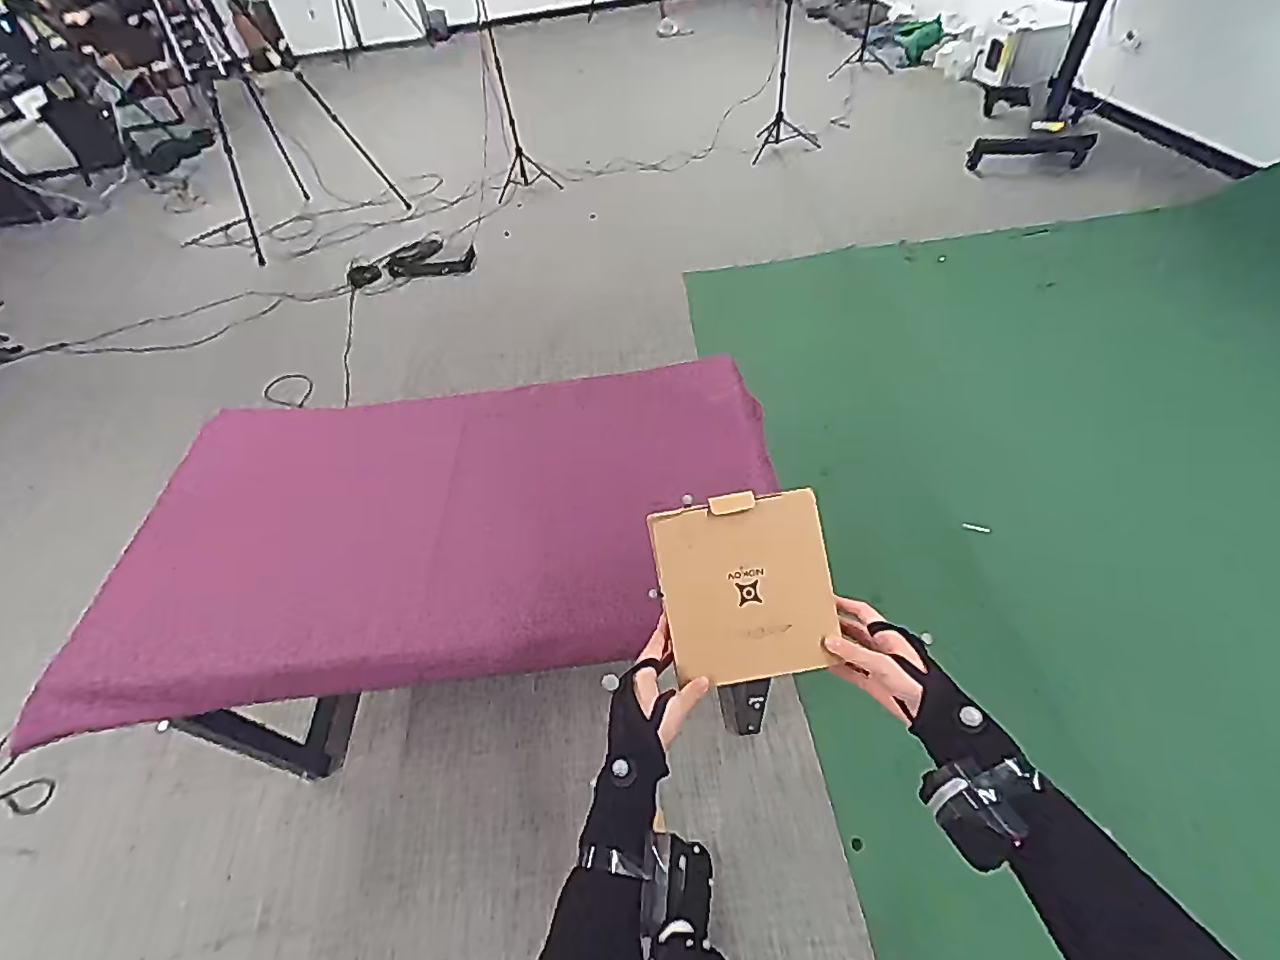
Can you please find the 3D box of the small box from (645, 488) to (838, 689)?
[{"bbox_3d":[0.098,0.111,0.603,0.168,0.176,0.179,-9,86,-1],"label":"small box"}]
